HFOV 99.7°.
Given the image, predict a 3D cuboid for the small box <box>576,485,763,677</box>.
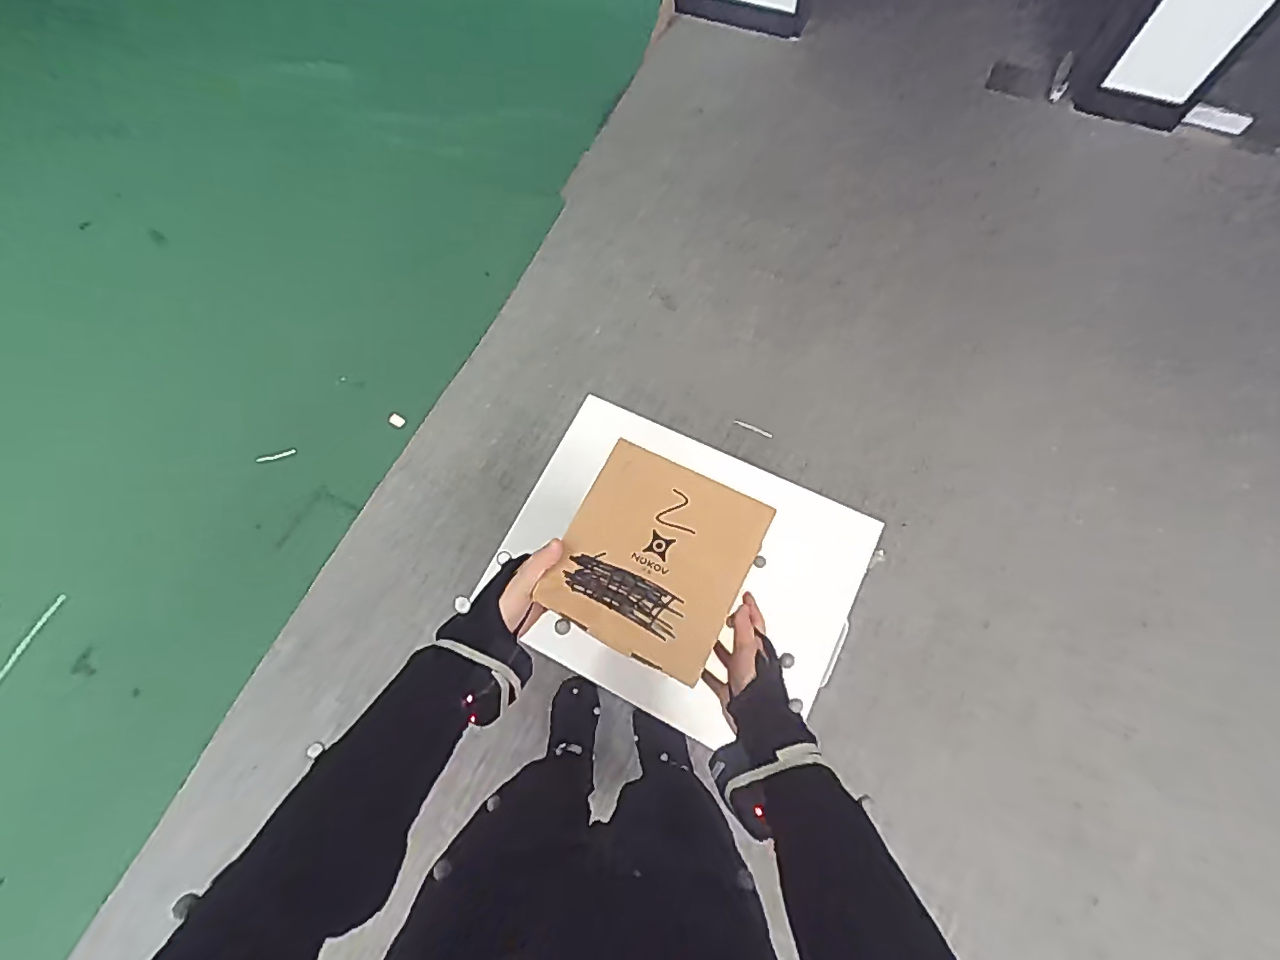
[{"bbox_3d":[0.040,0.138,0.712,0.168,0.176,0.179,27,75,13],"label":"small box"}]
